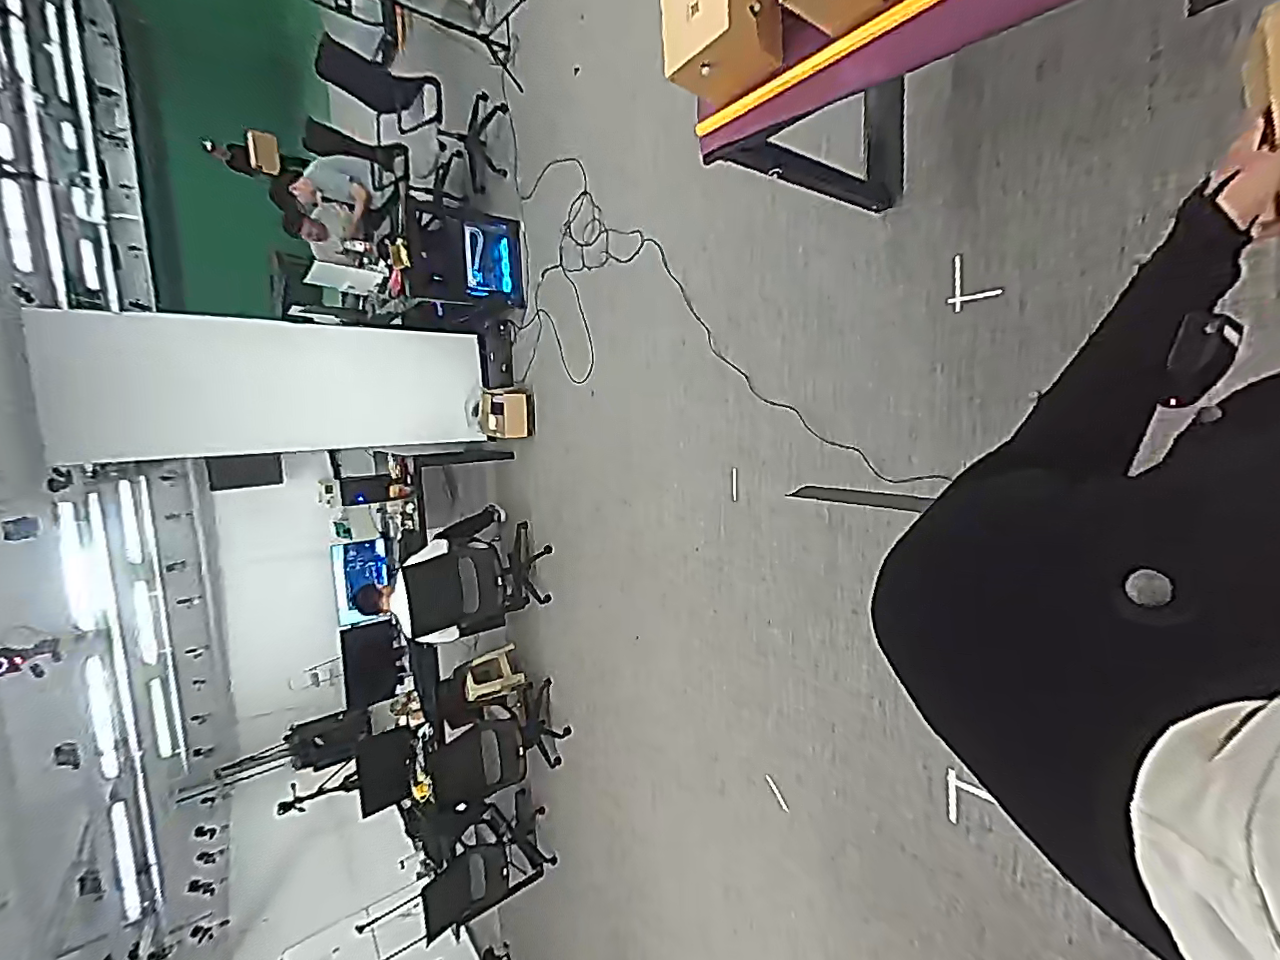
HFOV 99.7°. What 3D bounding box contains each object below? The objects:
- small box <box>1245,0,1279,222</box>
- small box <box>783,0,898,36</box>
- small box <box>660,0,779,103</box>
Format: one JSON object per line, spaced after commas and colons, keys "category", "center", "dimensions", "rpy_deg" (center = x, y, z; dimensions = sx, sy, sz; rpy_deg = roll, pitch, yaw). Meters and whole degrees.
{"category": "small box", "center": [0.641, -0.340, 0.453], "dimensions": [0.168, 0.176, 0.179], "rpy_deg": [-6, 98, 47]}
{"category": "small box", "center": [0.331, -0.860, 0.847], "dimensions": [0.168, 0.176, 0.179], "rpy_deg": [7, 102, 53]}
{"category": "small box", "center": [0.161, -0.894, 1.069], "dimensions": [0.179, 0.176, 0.168], "rpy_deg": [4, 99, 52]}
